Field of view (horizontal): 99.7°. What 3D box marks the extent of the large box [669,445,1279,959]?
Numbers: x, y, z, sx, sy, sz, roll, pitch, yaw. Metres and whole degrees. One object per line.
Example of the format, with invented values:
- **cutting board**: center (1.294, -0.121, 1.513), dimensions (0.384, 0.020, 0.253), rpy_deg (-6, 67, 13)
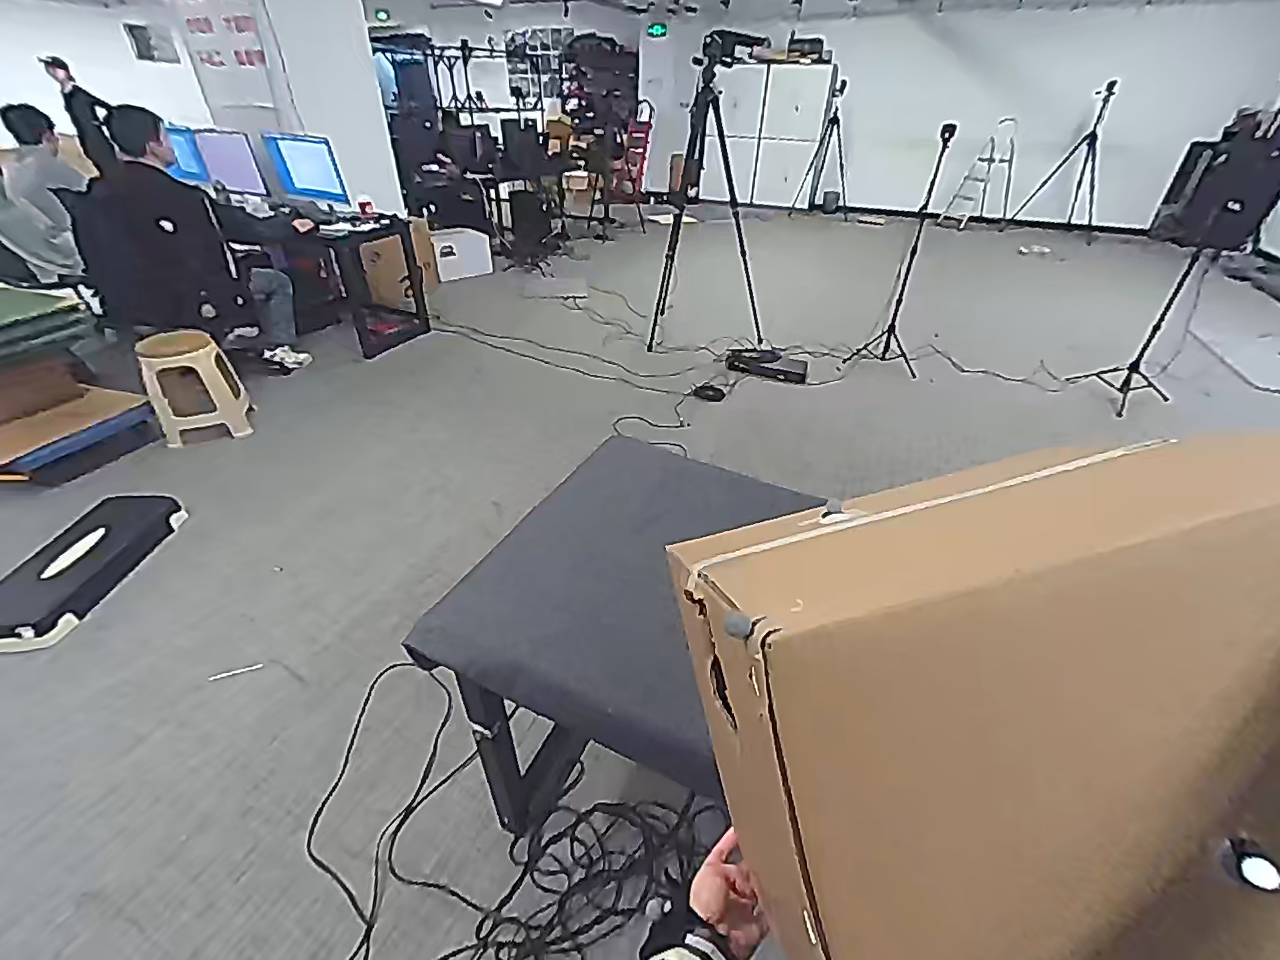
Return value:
- **large box**: center (0.274, 0.175, 0.422), dimensions (0.408, 0.320, 0.320), rpy_deg (-15, 2, -5)
